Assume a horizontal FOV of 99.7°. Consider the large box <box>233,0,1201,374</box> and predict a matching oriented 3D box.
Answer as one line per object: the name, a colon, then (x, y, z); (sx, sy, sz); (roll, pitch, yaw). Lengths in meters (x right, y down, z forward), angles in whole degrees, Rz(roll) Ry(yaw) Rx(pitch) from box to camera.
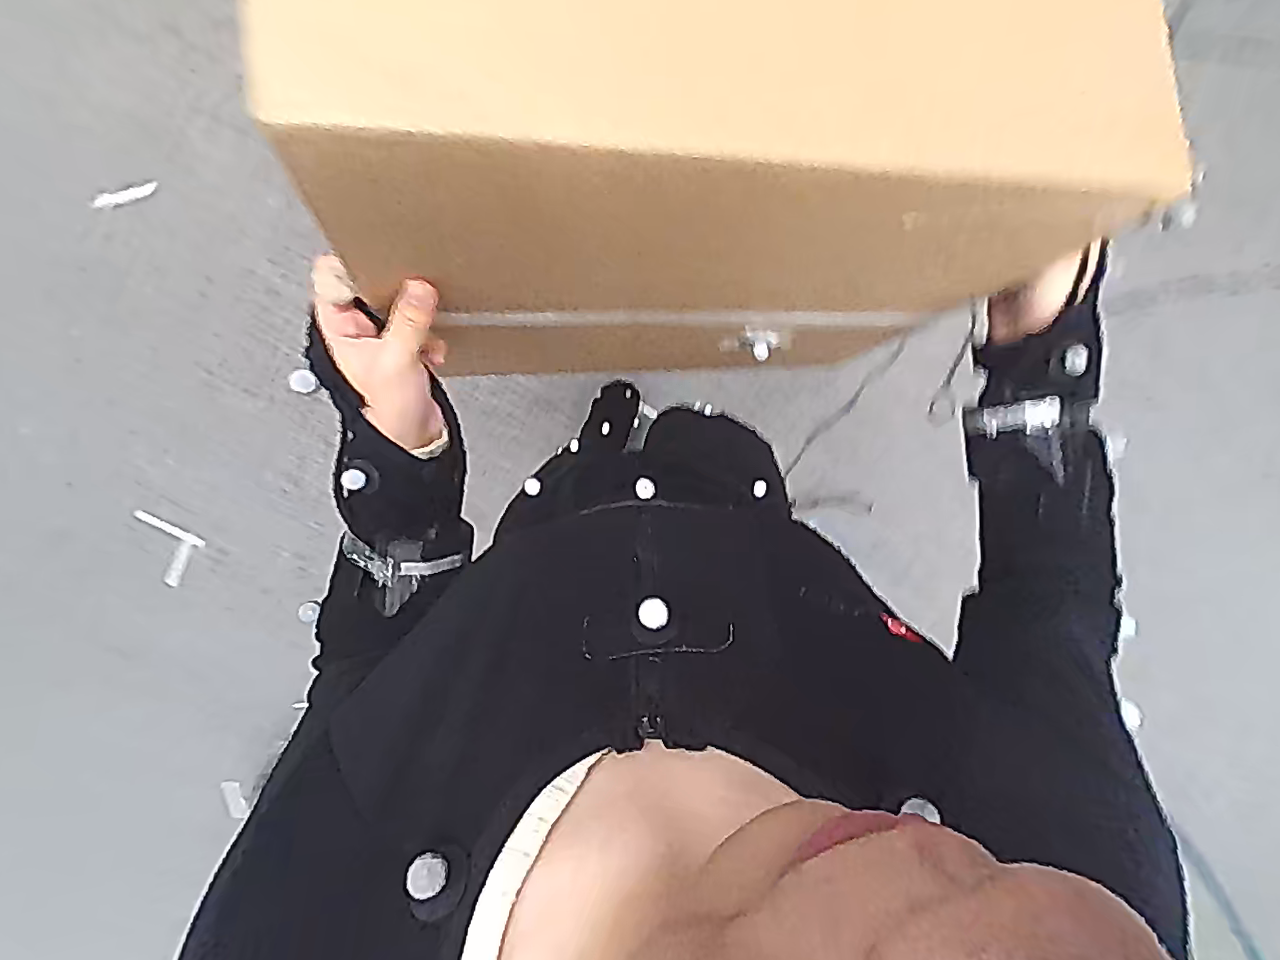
large box: (0.020, -0.269, 0.361); (0.408, 0.320, 0.320); (-5, 88, -14)
